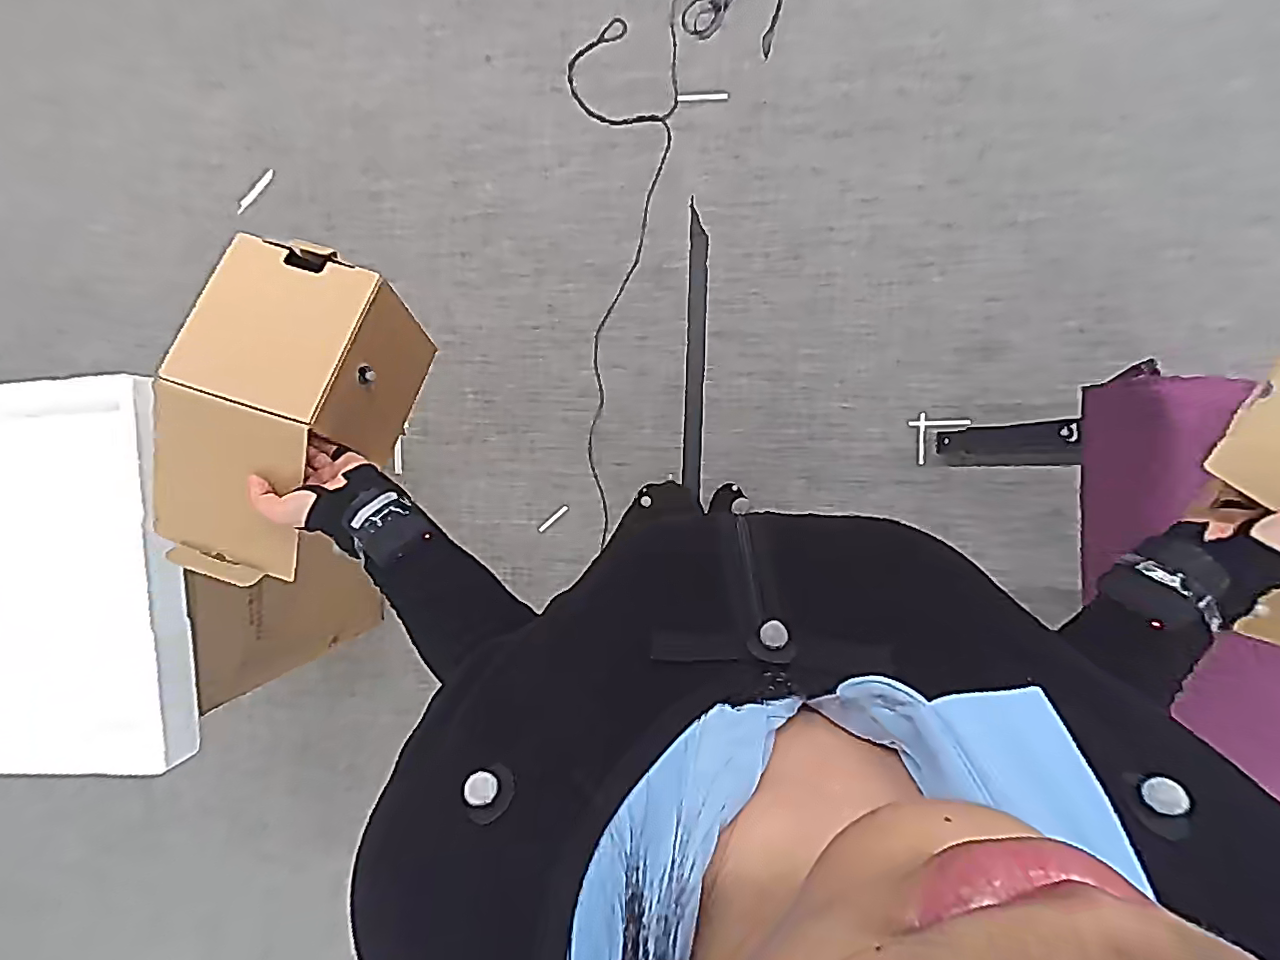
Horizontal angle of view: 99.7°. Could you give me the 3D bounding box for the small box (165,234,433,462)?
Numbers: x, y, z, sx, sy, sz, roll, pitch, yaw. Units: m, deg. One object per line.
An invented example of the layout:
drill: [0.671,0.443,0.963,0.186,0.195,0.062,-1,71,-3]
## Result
small box: [-0.365,-0.137,0.621,0.168,0.176,0.179,18,76,3]
